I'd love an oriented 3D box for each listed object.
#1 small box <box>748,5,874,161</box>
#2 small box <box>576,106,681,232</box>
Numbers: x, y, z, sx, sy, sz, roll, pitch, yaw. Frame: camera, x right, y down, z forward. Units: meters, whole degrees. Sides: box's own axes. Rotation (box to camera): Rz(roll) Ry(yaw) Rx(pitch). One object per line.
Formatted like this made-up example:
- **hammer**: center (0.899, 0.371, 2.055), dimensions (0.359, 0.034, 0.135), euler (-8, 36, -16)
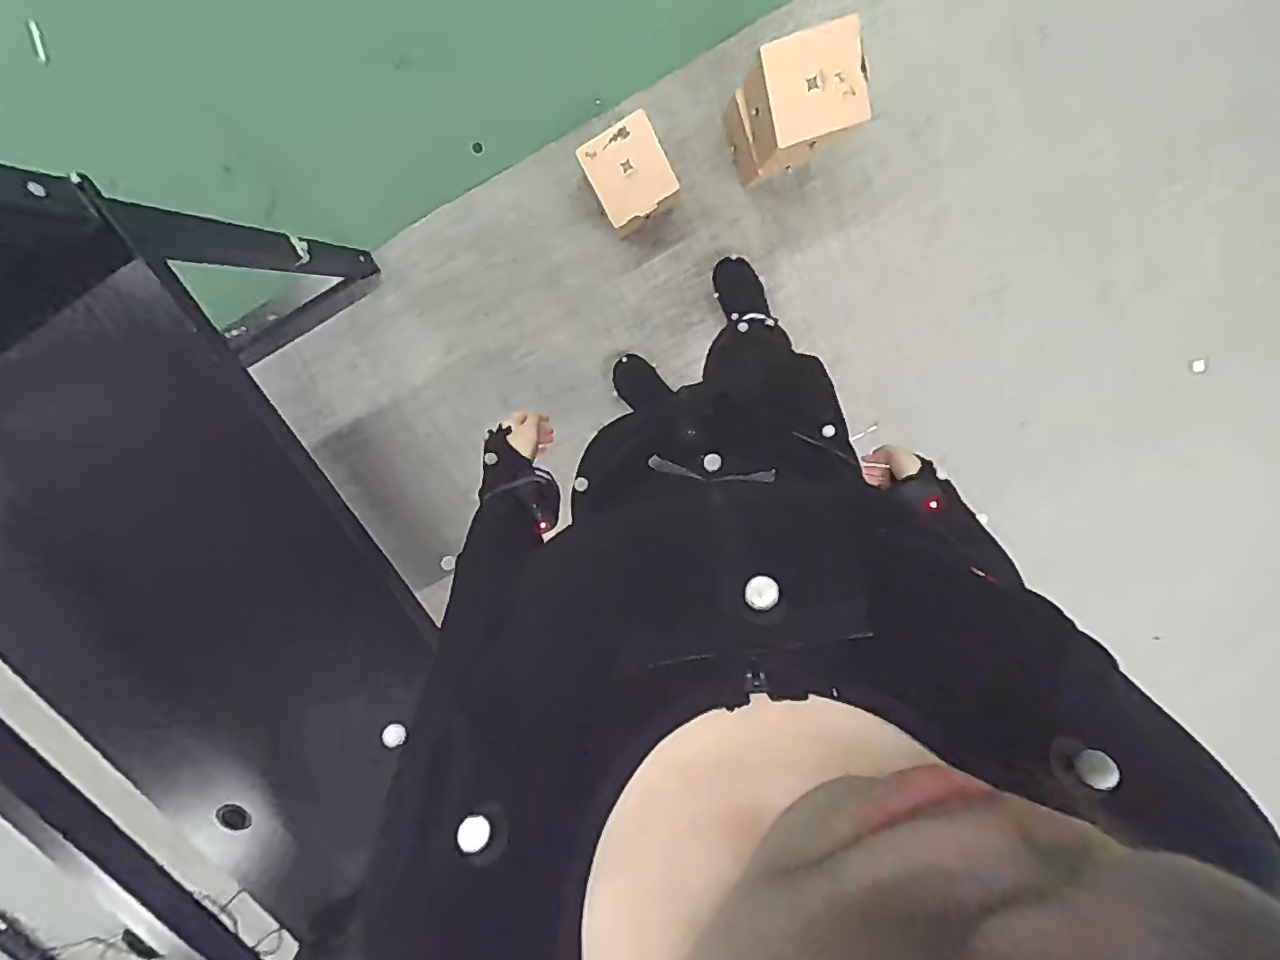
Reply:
- **small box**: center (0.309, -0.725, 1.013), dimensions (0.179, 0.176, 0.168), euler (-16, 108, 5)
- **small box**: center (-0.021, -0.673, 1.200), dimensions (0.168, 0.176, 0.179), euler (-29, 105, 9)
